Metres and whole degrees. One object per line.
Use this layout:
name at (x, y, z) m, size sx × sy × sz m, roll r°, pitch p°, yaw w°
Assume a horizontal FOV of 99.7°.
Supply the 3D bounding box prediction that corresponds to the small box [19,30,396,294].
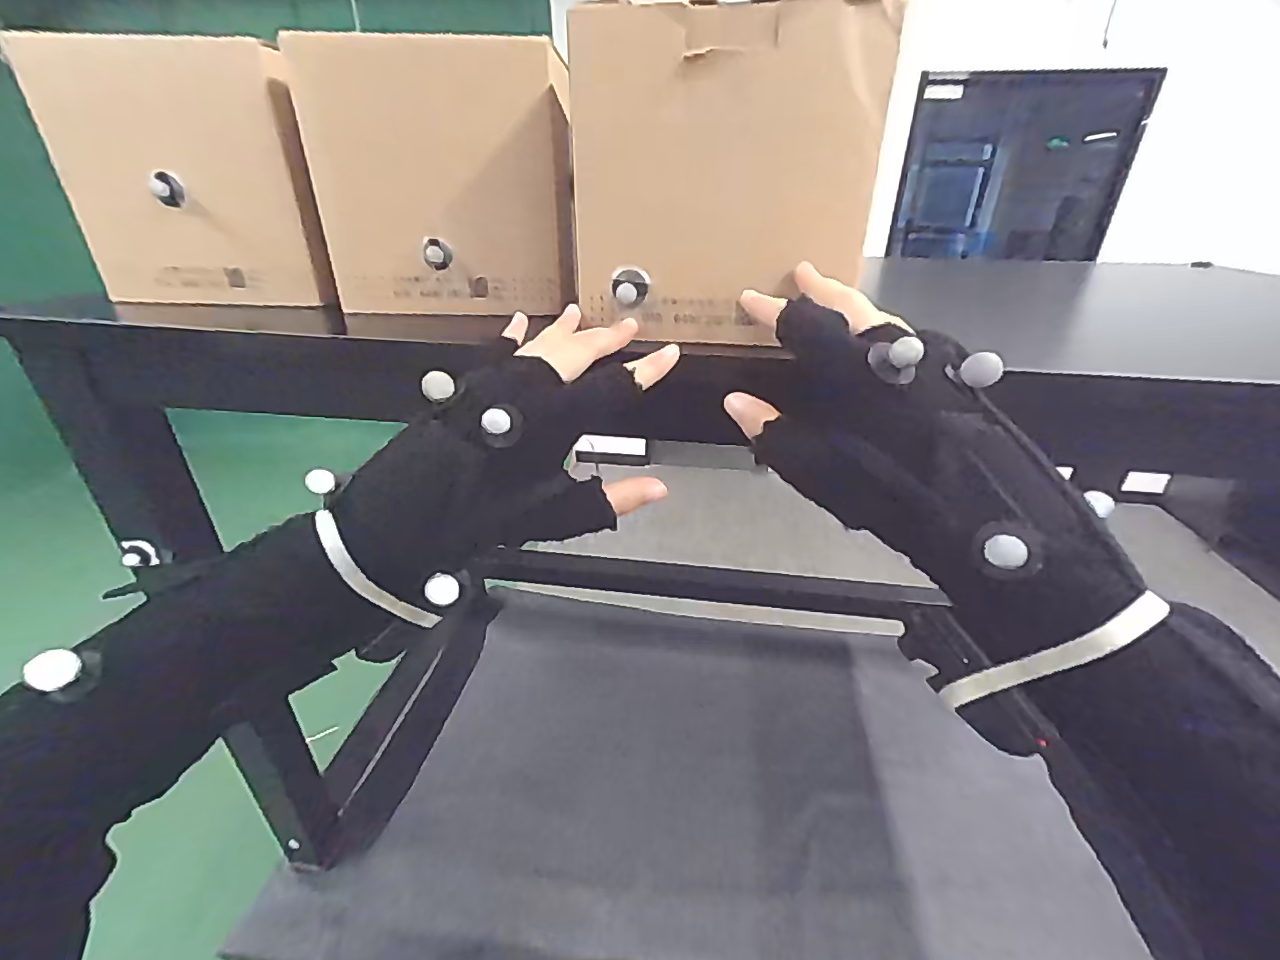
small box at (-0.333, -0.261, 0.469) m, size 0.168 × 0.176 × 0.179 m, roll 3°, pitch 27°, yaw 0°

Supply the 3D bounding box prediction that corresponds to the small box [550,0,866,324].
small box at (0.045, -0.211, 0.382) m, size 0.168 × 0.176 × 0.179 m, roll 4°, pitch 27°, yaw 7°
